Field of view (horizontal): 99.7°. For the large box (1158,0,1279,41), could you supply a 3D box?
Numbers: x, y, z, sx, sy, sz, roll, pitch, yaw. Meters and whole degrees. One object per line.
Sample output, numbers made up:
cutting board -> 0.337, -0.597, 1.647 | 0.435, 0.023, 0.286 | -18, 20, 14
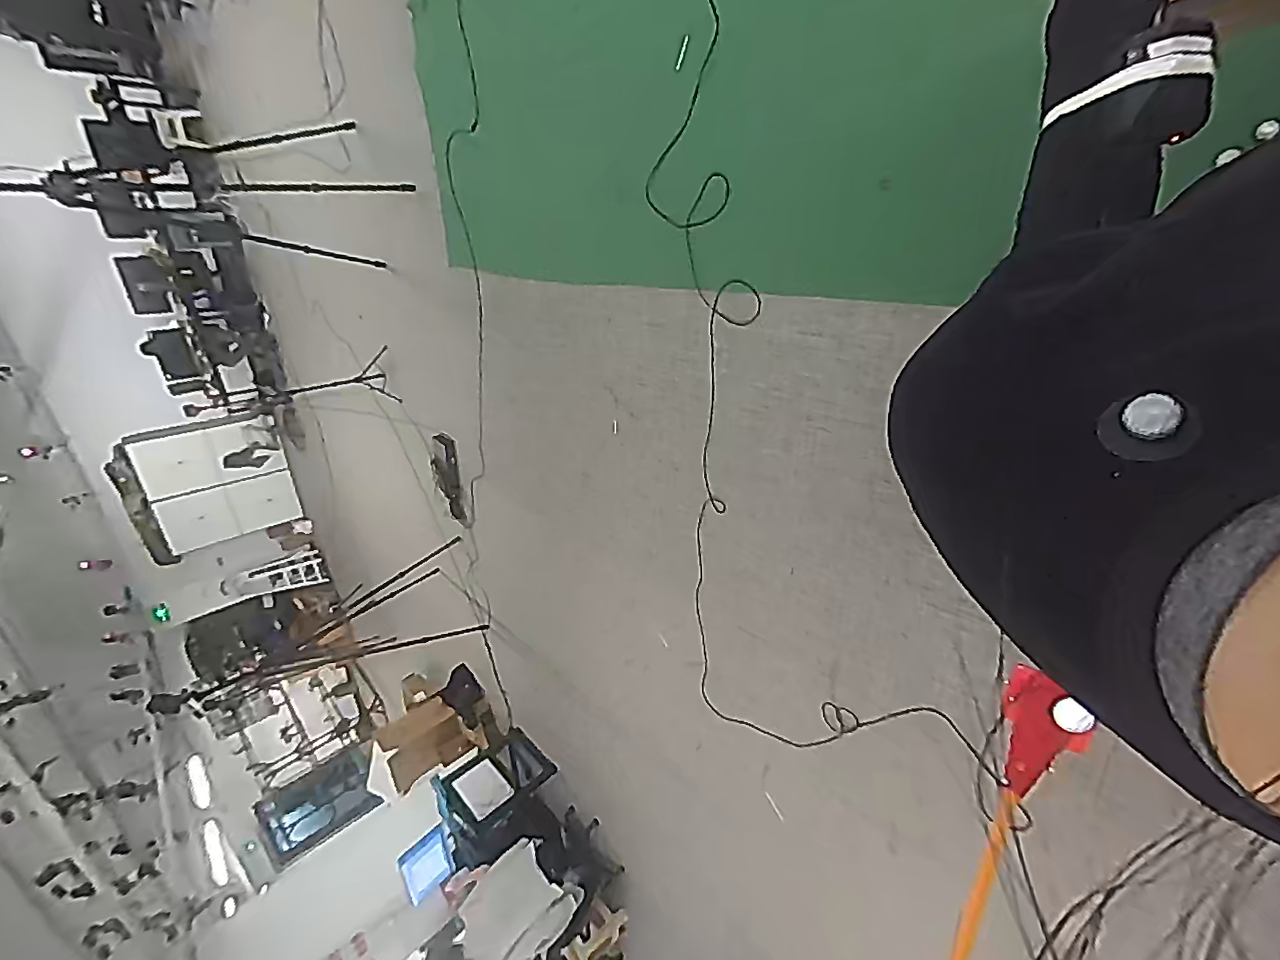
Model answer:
large box -> 0.570, -0.502, 0.277 | 0.408, 0.320, 0.320 | 10, 120, 42
